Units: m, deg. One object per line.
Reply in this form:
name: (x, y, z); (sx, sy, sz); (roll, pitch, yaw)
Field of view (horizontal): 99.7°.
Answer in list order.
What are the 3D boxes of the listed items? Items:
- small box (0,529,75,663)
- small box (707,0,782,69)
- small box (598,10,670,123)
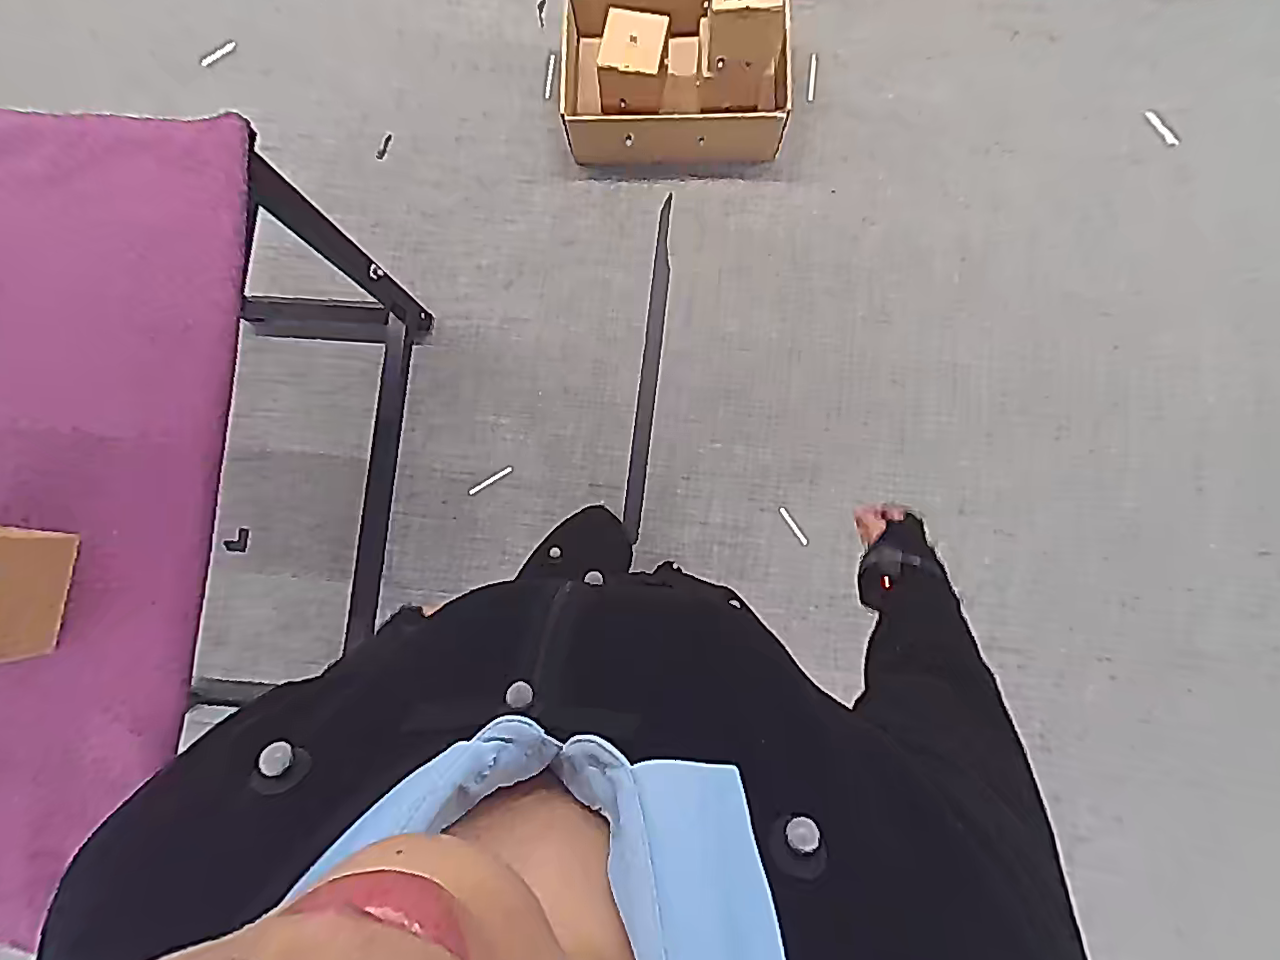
small box: (-0.937, 0.153, 0.731); (0.168, 0.176, 0.179); (6, 84, 4)
small box: (0.255, -1.160, 1.339); (0.168, 0.176, 0.179); (1, 82, 3)
small box: (-0.015, -1.155, 1.519); (0.168, 0.176, 0.179); (11, 84, 2)
